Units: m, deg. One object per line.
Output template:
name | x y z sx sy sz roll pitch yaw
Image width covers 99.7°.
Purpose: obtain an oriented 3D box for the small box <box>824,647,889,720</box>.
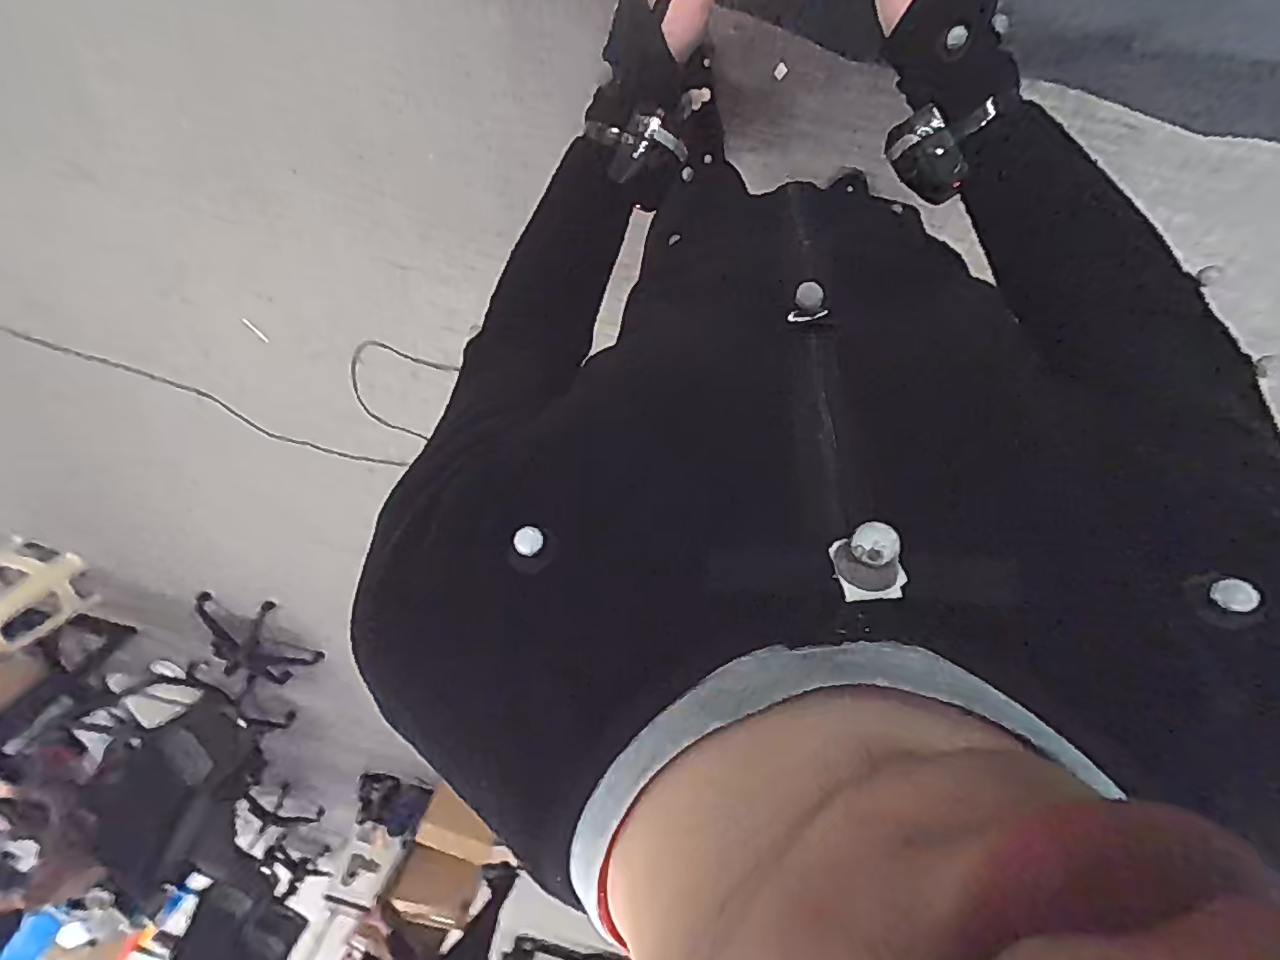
small box | 0.799 0.755 2.018 0.168 0.176 0.179 14 125 3
